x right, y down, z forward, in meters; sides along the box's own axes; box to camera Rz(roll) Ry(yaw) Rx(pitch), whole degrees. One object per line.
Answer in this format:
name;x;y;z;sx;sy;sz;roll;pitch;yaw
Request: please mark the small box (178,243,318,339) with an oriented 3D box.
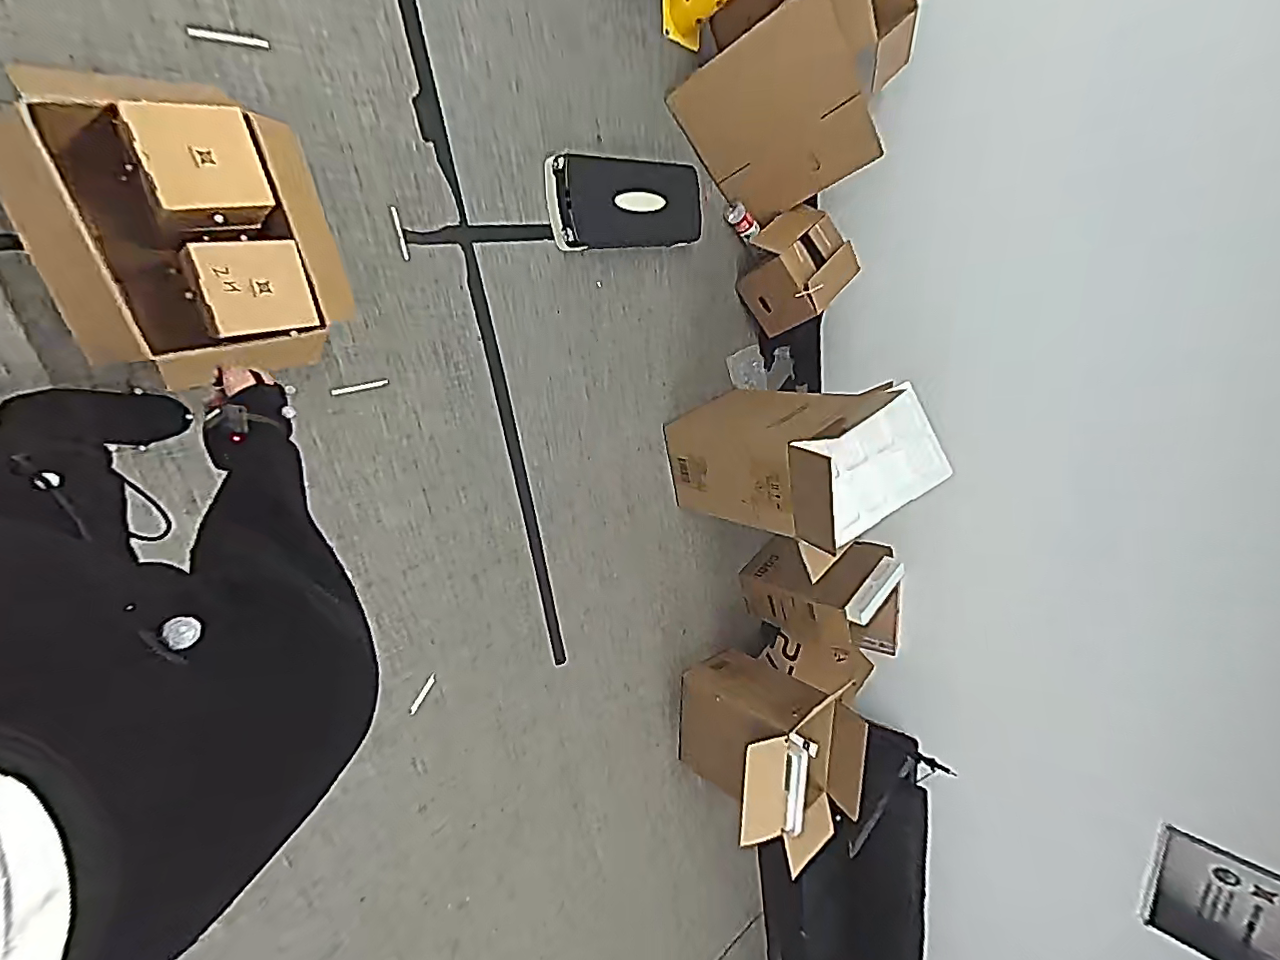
small box;-0.786;-0.378;1.085;0.179;0.176;0.168;-23;114;-39
